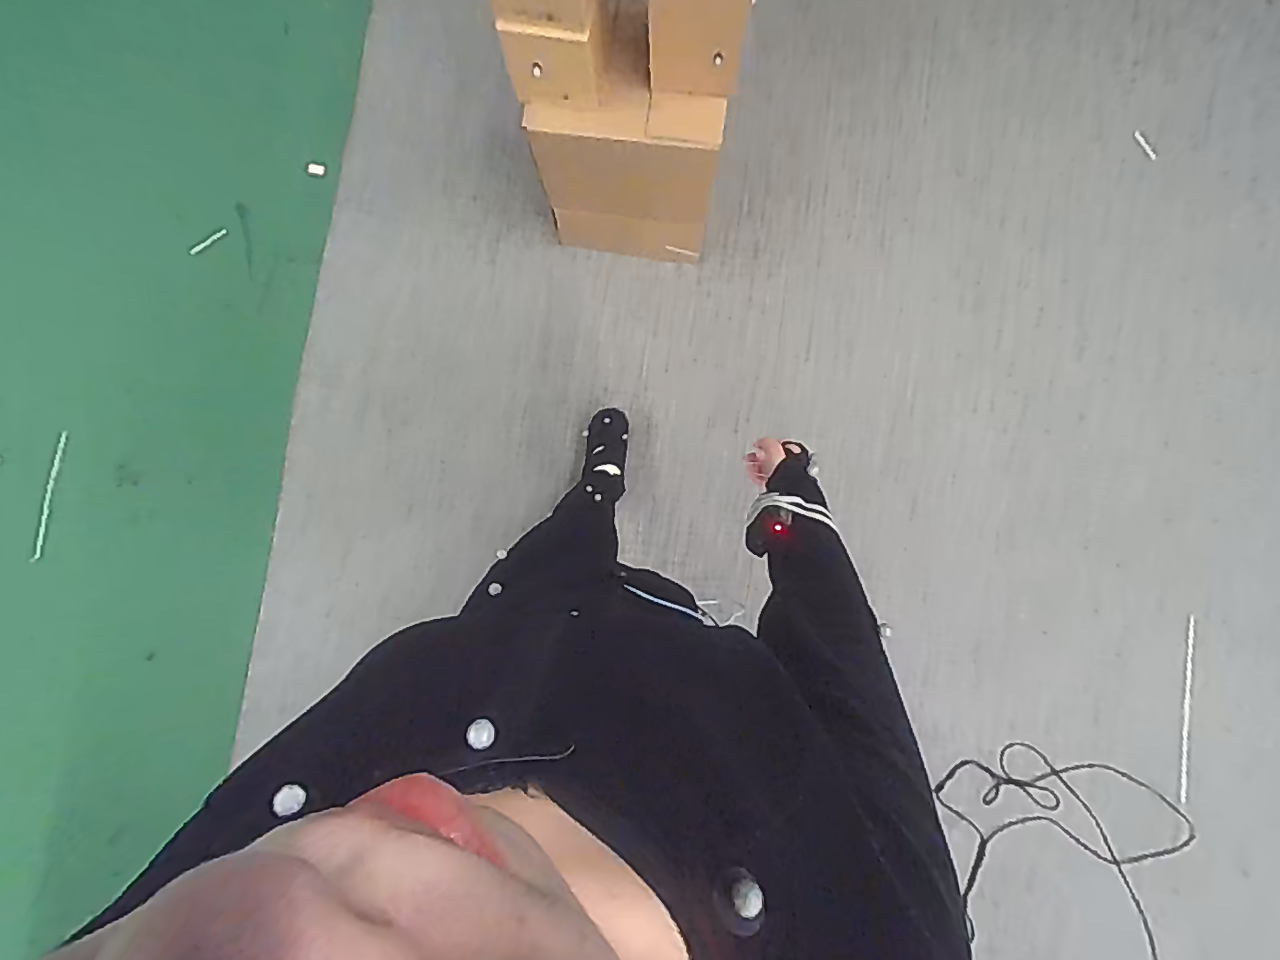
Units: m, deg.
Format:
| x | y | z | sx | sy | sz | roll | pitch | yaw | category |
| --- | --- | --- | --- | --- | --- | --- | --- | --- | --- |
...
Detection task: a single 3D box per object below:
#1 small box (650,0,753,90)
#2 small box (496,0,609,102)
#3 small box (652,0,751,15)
| x | y | z | sx | sy | sz | roll | pitch | yaw | category |
| --- | --- | --- | --- | --- | --- | --- | --- | --- | --- |
| 0.115 | -0.873 | 1.013 | 0.179 | 0.176 | 0.168 | 7 | 86 | 3 | small box |
| -0.154 | -0.856 | 1.013 | 0.168 | 0.176 | 0.179 | 9 | 86 | 0 | small box |
| 0.114 | -0.884 | 0.849 | 0.179 | 0.176 | 0.168 | 8 | 86 | 3 | small box |
